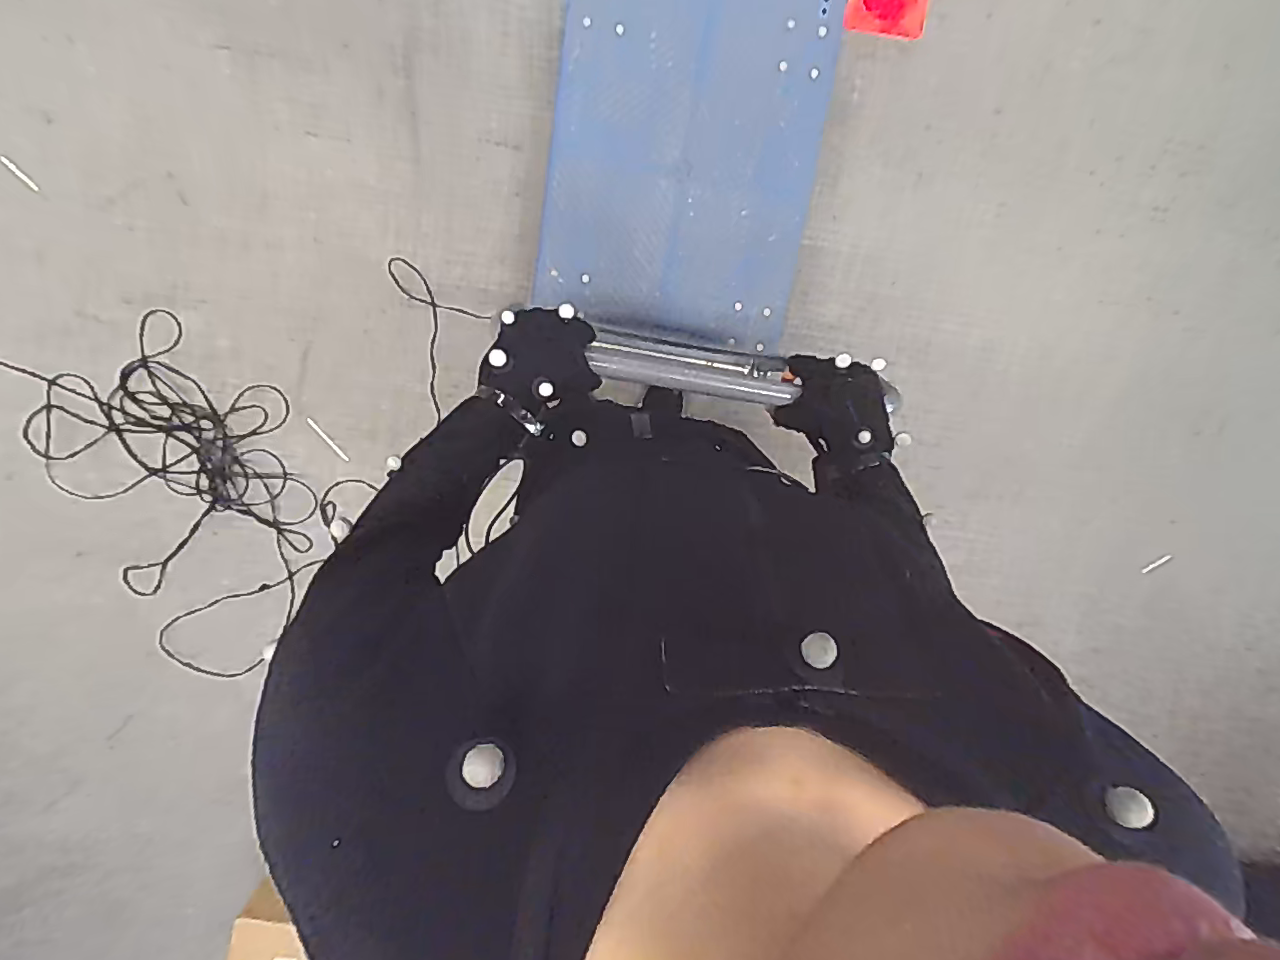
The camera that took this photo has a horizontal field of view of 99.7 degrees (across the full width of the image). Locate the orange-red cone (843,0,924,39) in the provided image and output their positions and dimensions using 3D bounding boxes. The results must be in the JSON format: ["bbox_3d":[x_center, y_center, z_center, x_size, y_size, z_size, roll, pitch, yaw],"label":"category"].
[{"bbox_3d":[0.602,-1.151,1.133,0.199,0.360,0.198,7,100,-3],"label":"orange-red cone"}]
